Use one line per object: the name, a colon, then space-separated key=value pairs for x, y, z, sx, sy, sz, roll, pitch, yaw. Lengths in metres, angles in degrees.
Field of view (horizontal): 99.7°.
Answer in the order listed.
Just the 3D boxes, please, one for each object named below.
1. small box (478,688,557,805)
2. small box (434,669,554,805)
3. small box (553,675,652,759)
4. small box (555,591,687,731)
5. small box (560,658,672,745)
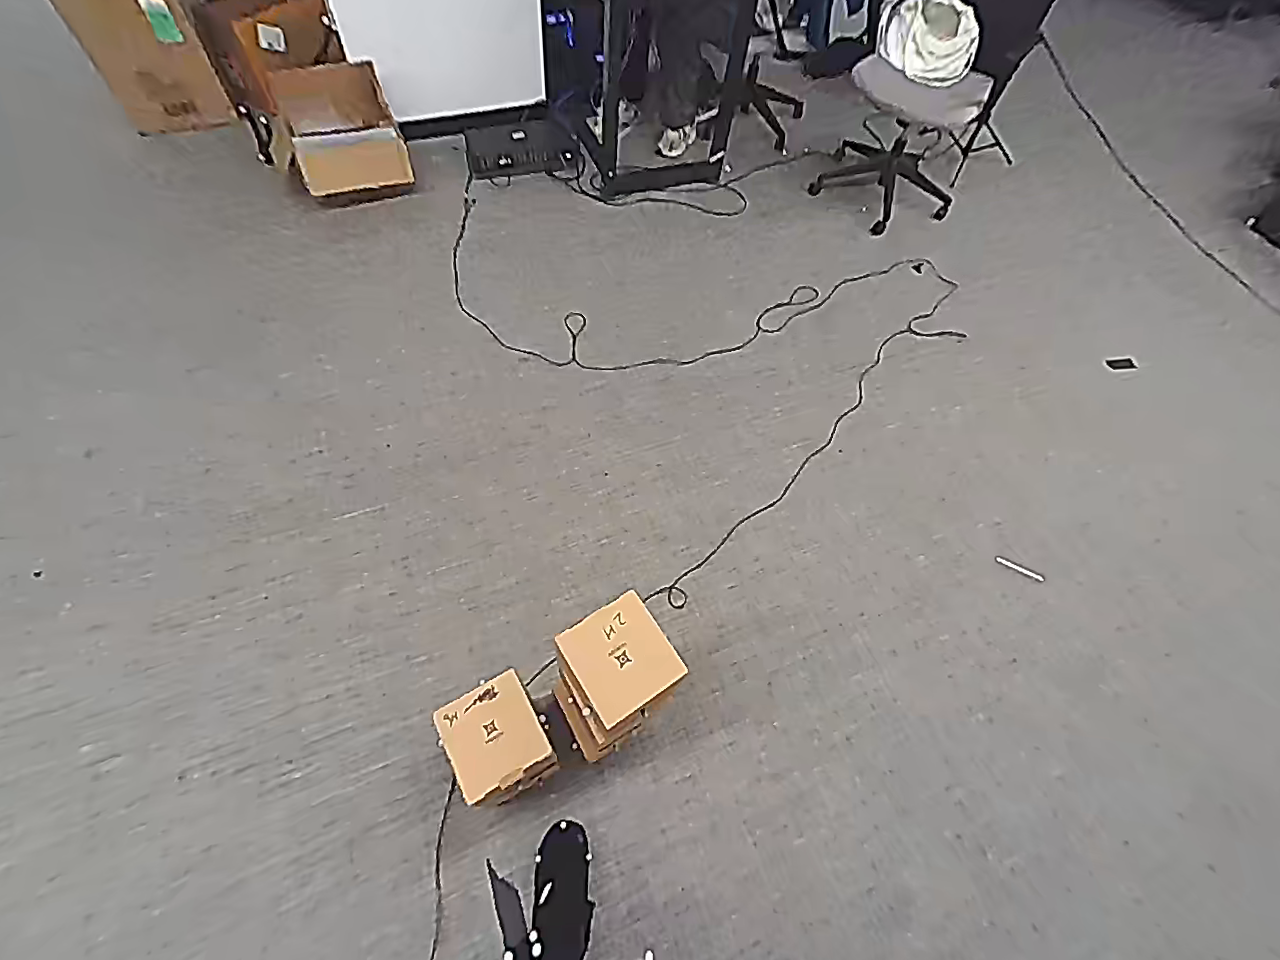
small box: x=-0.289 y=0.588 z=1.198 sx=0.168 sy=0.176 sz=0.179 roll=-21 pitch=64 yaw=-17
small box: x=-0.277 y=0.501 z=1.058 sx=0.168 sy=0.176 sz=0.179 roll=-25 pitch=66 yaw=-19
small box: x=-0.091 y=0.521 z=1.255 sx=0.168 sy=0.176 sz=0.179 roll=-26 pitch=66 yaw=-19
small box: x=-0.038 y=0.336 z=0.985 sx=0.168 sy=0.176 sz=0.179 roll=-28 pitch=67 yaw=-20
small box: x=-0.056 y=0.426 z=1.123 sx=0.168 sy=0.176 sz=0.179 roll=-25 pitch=66 yaw=-18
